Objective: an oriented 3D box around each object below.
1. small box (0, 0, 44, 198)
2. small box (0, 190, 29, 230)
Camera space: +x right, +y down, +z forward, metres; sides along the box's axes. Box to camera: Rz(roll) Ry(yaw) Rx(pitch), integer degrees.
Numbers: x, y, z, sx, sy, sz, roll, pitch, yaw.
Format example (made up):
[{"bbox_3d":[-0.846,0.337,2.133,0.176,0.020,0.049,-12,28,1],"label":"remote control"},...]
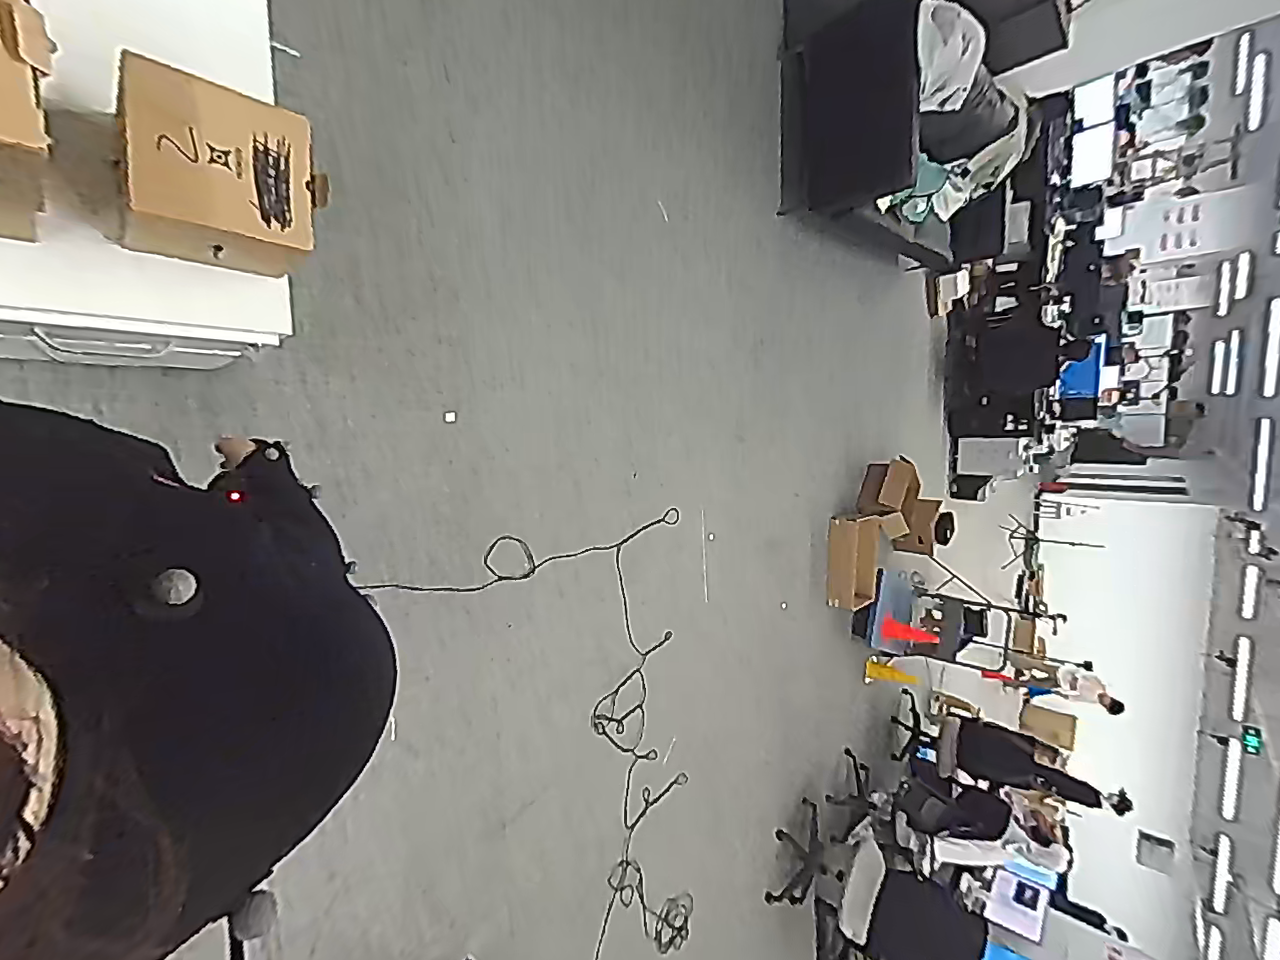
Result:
[{"bbox_3d":[-0.577,-0.331,0.395,0.179,0.176,0.168,-8,98,-47],"label":"small box"},{"bbox_3d":[-0.698,-0.355,0.502,0.168,0.176,0.179,-6,98,-49],"label":"small box"}]
